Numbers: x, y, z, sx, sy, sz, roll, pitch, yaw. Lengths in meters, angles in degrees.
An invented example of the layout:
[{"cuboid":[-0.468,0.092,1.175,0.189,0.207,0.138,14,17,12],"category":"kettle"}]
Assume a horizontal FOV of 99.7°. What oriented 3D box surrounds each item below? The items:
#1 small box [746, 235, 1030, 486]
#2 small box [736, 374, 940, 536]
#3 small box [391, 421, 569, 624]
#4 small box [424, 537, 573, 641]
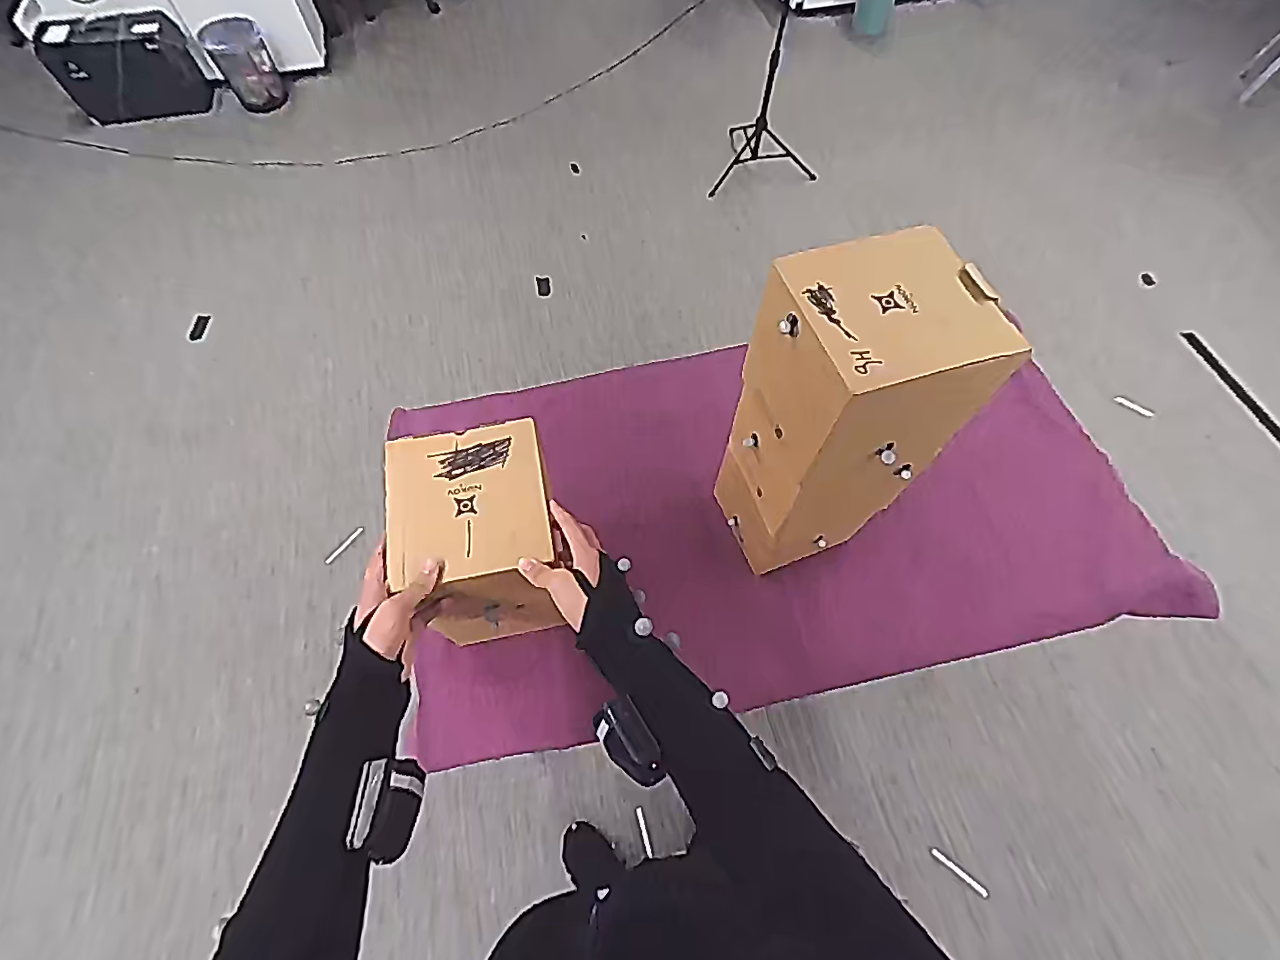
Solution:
[{"cuboid":[0.230,-0.115,0.555,0.179,0.176,0.168,-14,63,-9],"category":"small box"},{"cuboid":[0.235,-0.044,0.703,0.179,0.176,0.168,-14,64,-8],"category":"small box"},{"cuboid":[-0.181,0.056,0.642,0.168,0.176,0.179,-10,65,-7],"category":"small box"},{"cuboid":[-0.200,0.127,0.789,0.179,0.176,0.168,-9,64,-7],"category":"small box"}]
